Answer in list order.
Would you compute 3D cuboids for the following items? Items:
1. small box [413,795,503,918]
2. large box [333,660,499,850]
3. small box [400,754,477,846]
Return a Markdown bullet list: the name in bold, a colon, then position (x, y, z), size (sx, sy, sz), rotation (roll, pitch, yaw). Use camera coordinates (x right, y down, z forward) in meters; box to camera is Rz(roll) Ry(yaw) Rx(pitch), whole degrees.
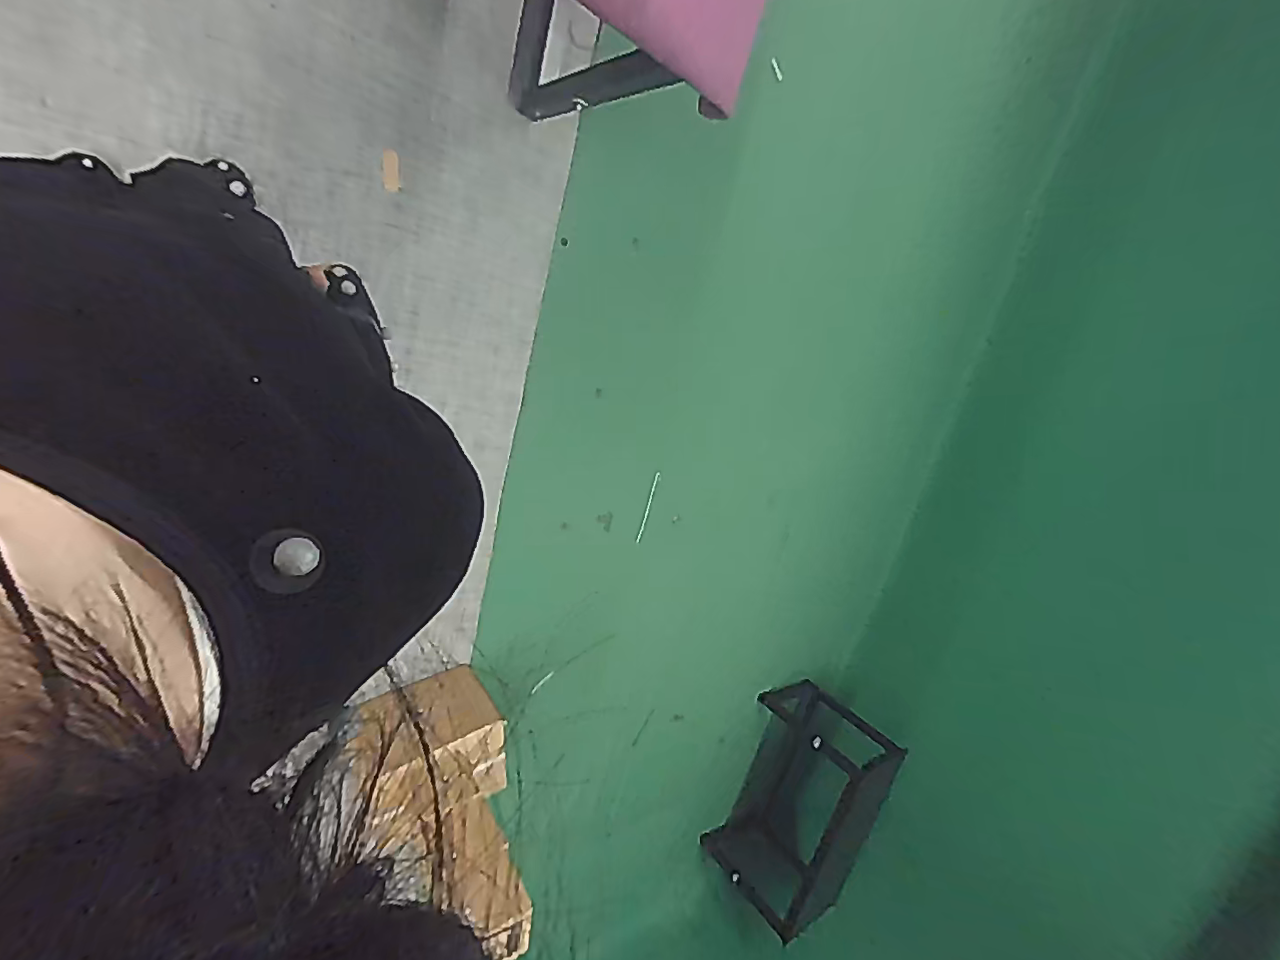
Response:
- **small box**: position (-0.485, 0.985, 1.435), size (0.179, 0.176, 0.168), rotation (-6, 114, -39)
- **large box**: position (-0.715, 0.859, 1.749), size (0.408, 0.320, 0.320), rotation (-15, 121, -37)
- **small box**: position (-0.581, 0.922, 1.549), size (0.168, 0.176, 0.179), rotation (-7, 115, -38)
